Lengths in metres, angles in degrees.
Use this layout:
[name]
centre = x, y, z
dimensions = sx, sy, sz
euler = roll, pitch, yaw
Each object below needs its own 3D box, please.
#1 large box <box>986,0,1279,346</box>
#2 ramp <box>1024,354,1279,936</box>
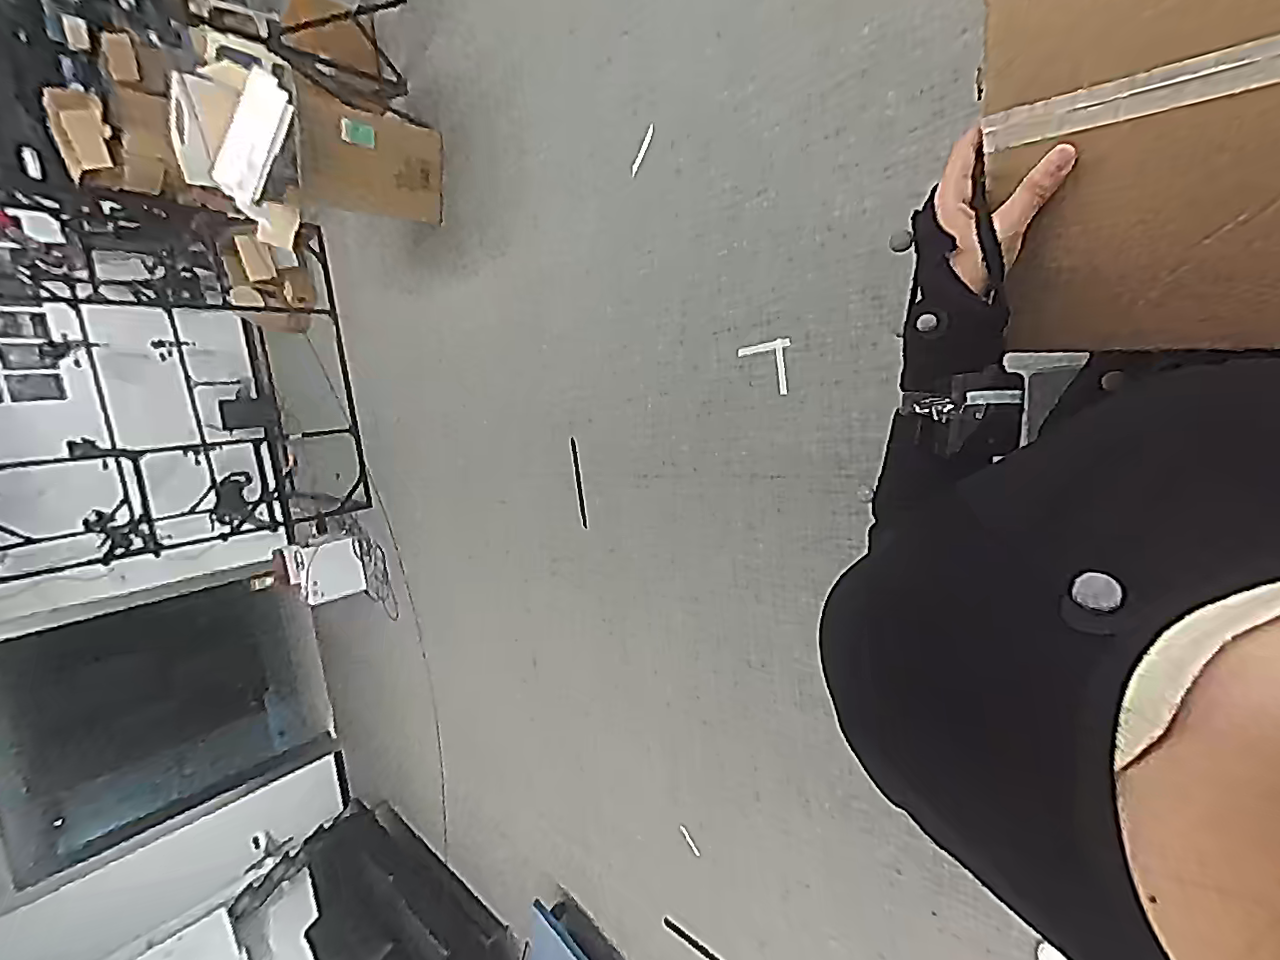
[large box]
centre = 0.466, -0.292, 0.302
dimensions = 0.408, 0.320, 0.320
euler = 10, 133, 44
[ramp]
centre = 1.016, 0.280, 1.008
dimensions = 0.509, 0.206, 0.991
euler = -1, 99, 45
